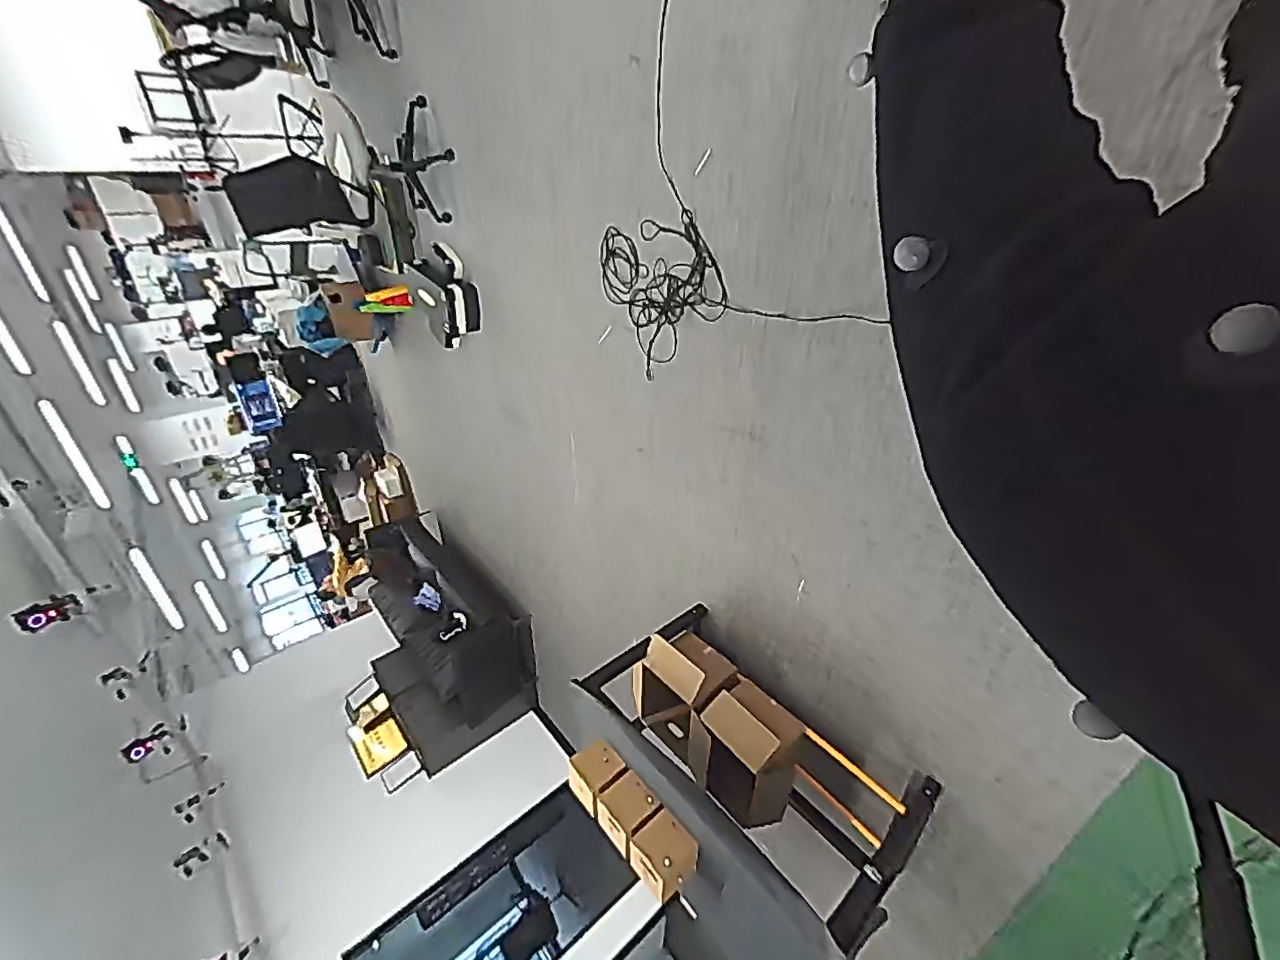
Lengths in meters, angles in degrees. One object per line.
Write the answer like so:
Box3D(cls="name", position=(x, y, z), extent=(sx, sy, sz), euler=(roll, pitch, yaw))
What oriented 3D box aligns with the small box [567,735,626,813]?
Box3D(cls="small box", position=(-0.169, 1.149, 2.121), extent=(0.168, 0.176, 0.179), euler=(32, 132, 39))
